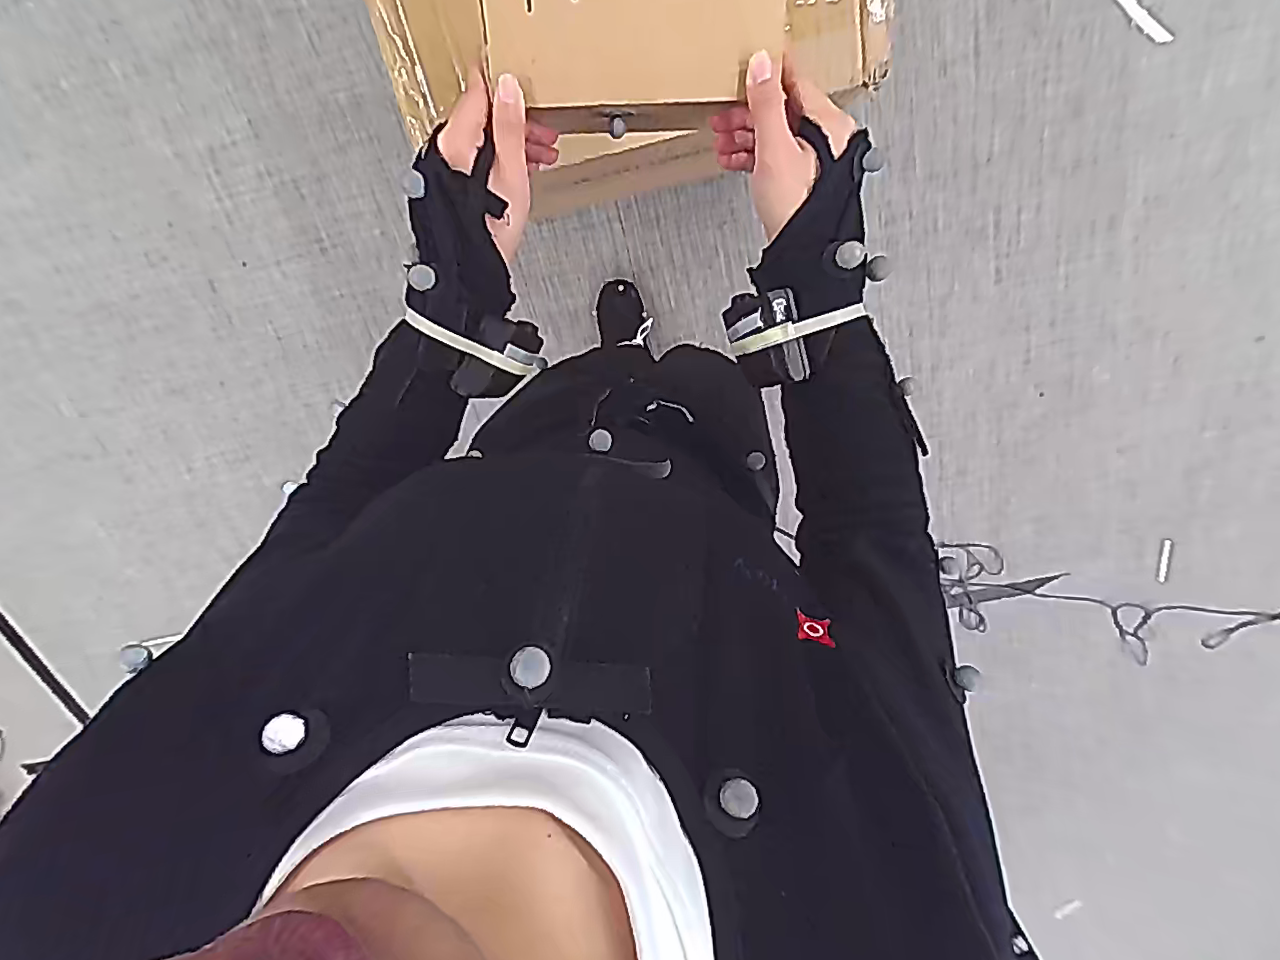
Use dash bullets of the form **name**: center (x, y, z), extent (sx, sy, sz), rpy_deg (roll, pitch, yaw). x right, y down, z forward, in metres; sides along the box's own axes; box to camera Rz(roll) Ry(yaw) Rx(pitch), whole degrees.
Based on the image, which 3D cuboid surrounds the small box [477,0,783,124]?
- **small box**: center (-0.007, -0.343, 0.357), extent (0.179, 0.176, 0.168), rpy_deg (-2, 118, 0)
